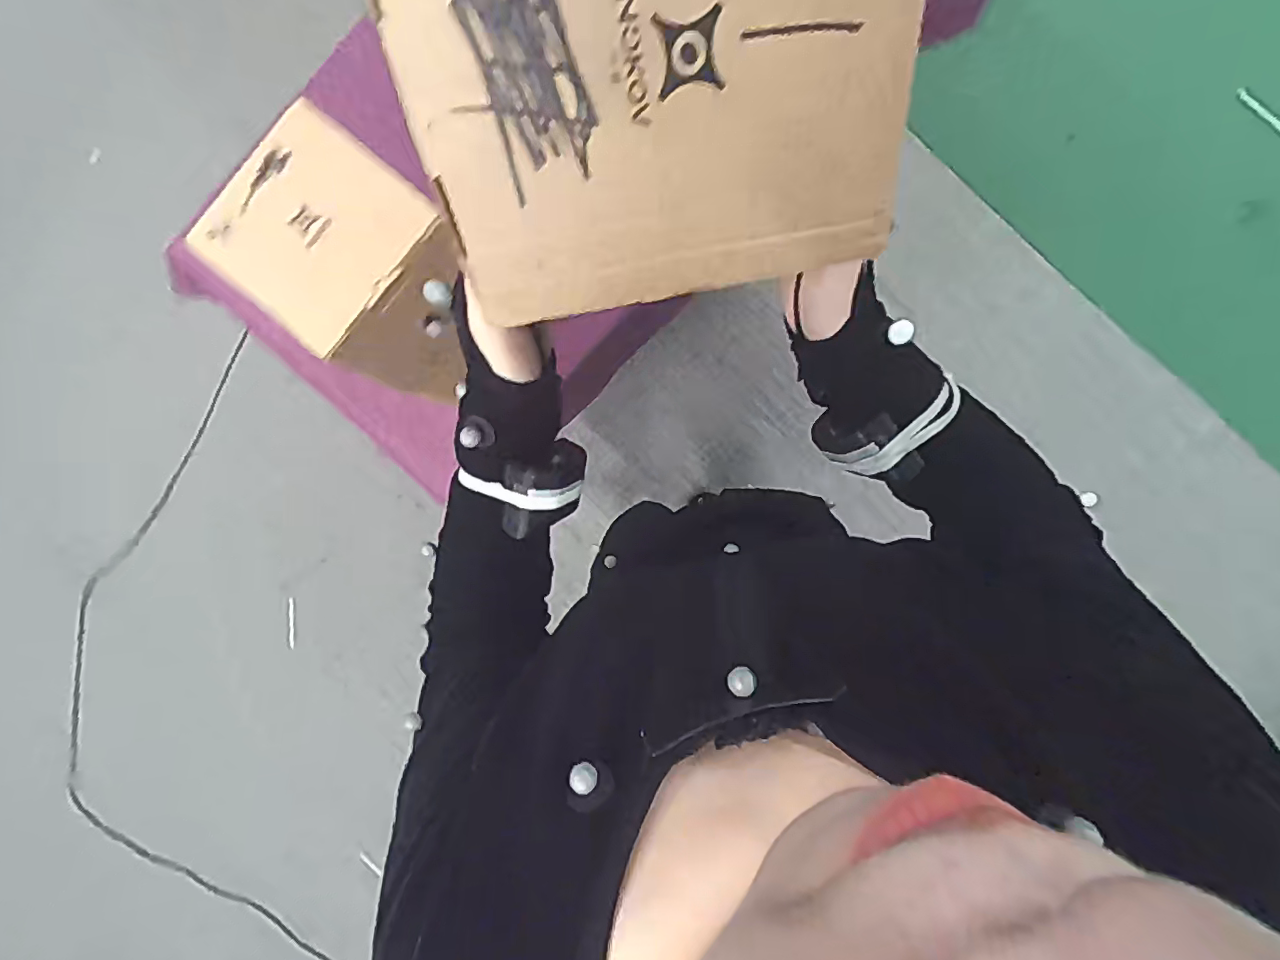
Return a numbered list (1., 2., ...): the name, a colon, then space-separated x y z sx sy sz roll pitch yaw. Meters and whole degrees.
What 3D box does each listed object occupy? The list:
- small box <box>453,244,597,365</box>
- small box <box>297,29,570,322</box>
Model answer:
1. small box: -0.177 -0.281 0.726 0.179 0.176 0.168 -35 86 1
2. small box: -0.193 -0.288 0.562 0.168 0.176 0.179 -35 86 1
